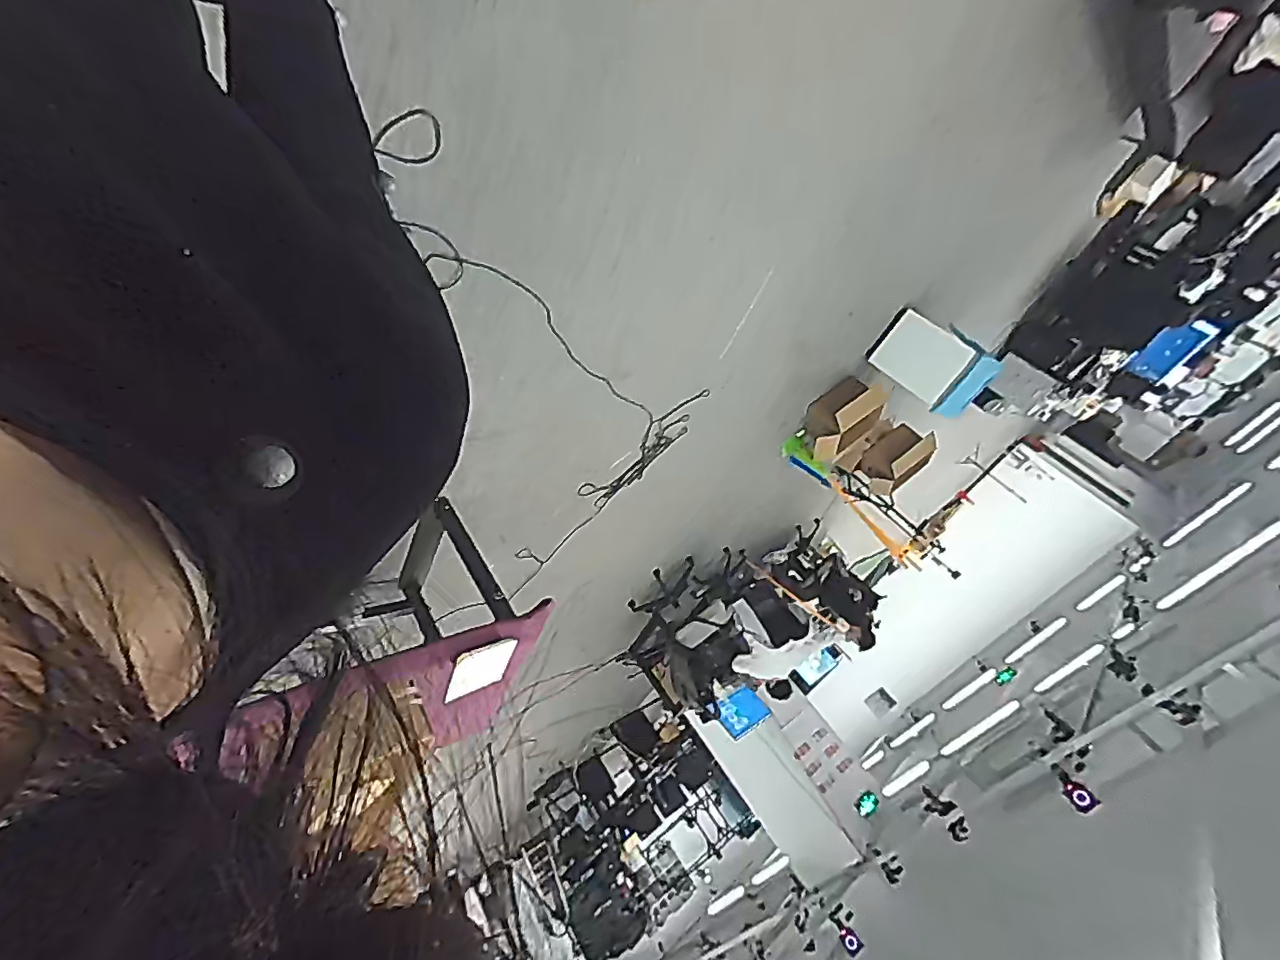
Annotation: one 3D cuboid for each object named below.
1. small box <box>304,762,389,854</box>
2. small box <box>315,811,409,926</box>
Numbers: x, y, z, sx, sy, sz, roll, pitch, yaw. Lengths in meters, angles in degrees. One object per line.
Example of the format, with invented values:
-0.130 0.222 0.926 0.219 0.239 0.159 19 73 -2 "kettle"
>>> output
-0.861 0.958 1.577 0.168 0.176 0.179 -4 133 -47 "small box"
-0.770 1.061 1.491 0.179 0.176 0.168 -6 135 -45 "small box"
